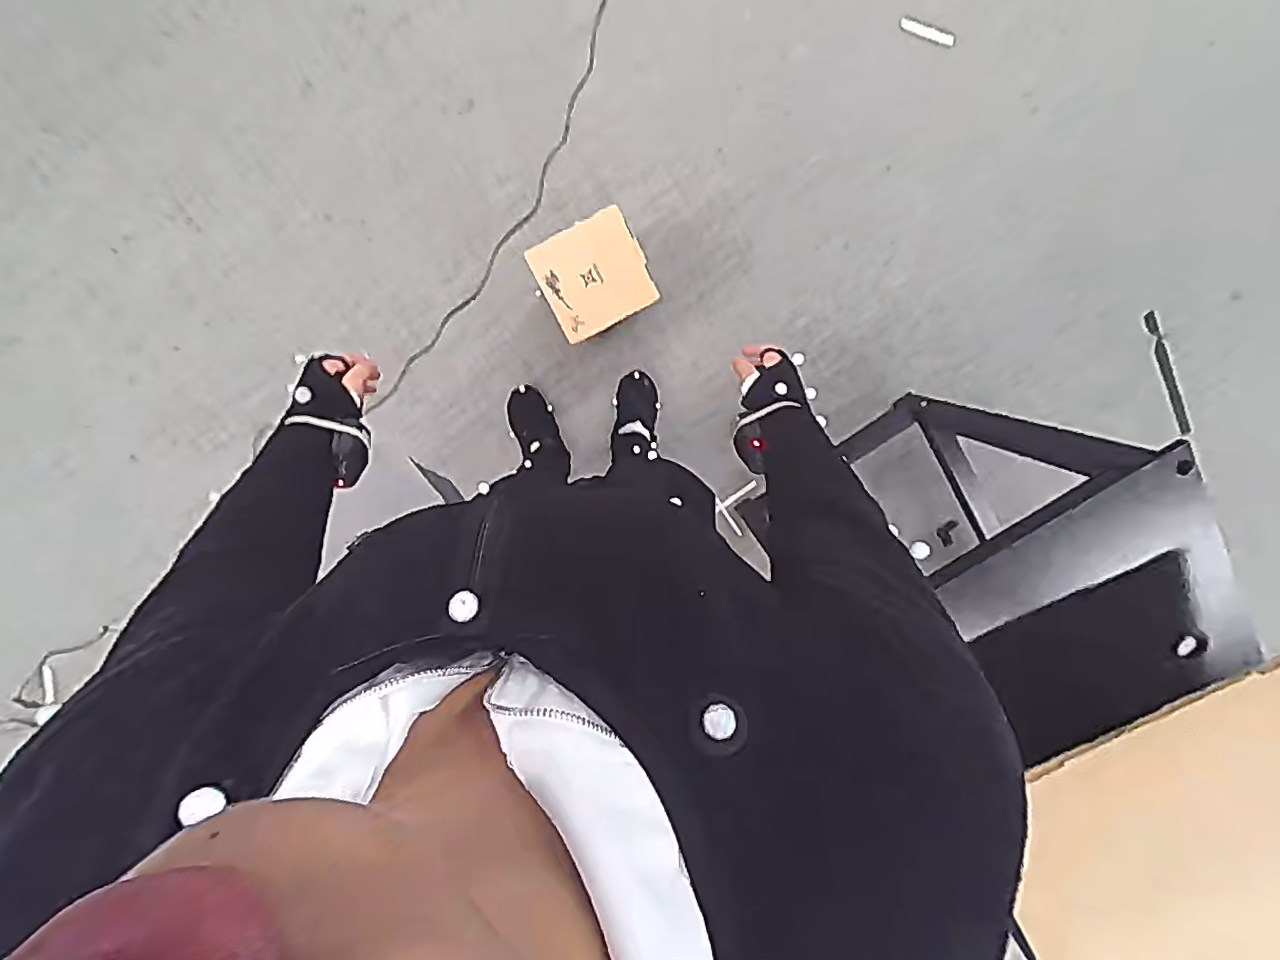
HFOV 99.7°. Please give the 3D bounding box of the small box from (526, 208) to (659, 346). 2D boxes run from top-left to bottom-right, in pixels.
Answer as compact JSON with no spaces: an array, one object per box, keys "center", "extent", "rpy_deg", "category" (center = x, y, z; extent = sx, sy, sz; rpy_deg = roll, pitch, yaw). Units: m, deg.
[{"center":[-0.086,-0.359,0.980],"extent":[0.179,0.176,0.168],"rpy_deg":[-27,106,2],"category":"small box"}]
